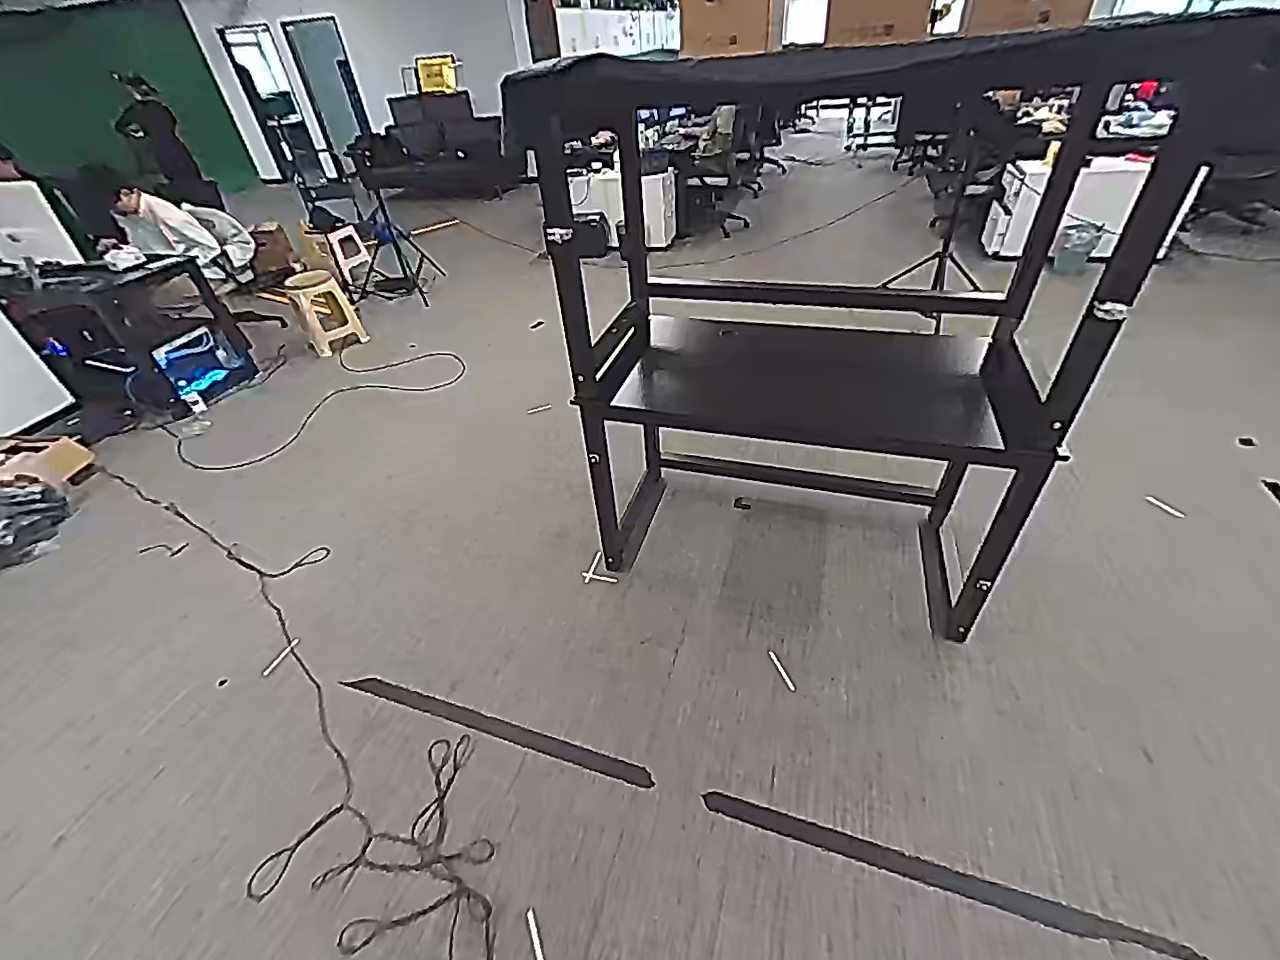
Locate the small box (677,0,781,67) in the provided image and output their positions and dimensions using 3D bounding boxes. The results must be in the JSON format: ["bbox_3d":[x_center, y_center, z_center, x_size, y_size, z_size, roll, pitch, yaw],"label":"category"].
[{"bbox_3d":[0.171,-0.892,1.018,0.168,0.176,0.179,10,40,18],"label":"small box"}]

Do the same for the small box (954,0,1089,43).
[{"bbox_3d":[0.620,-0.813,0.865,0.168,0.176,0.179,8,40,18],"label":"small box"}]
